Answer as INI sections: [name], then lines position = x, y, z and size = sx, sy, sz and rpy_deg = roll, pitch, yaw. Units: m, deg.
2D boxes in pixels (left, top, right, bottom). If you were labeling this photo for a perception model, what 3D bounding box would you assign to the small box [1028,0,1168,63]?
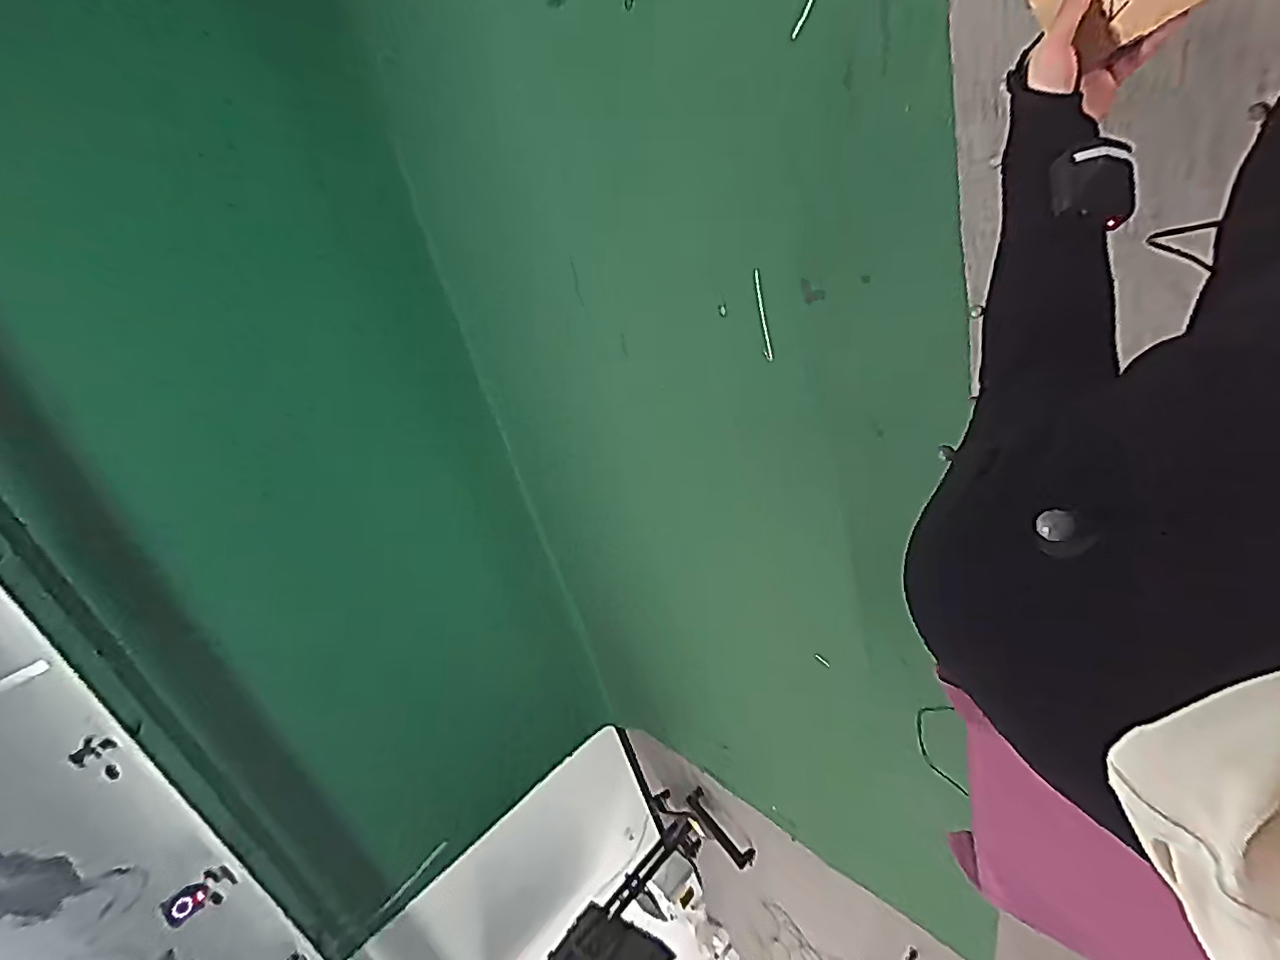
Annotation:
[small box]
position = 0.425, -0.497, 0.419
size = 0.179, 0.176, 0.168
rpy_deg = 50, 173, -14
